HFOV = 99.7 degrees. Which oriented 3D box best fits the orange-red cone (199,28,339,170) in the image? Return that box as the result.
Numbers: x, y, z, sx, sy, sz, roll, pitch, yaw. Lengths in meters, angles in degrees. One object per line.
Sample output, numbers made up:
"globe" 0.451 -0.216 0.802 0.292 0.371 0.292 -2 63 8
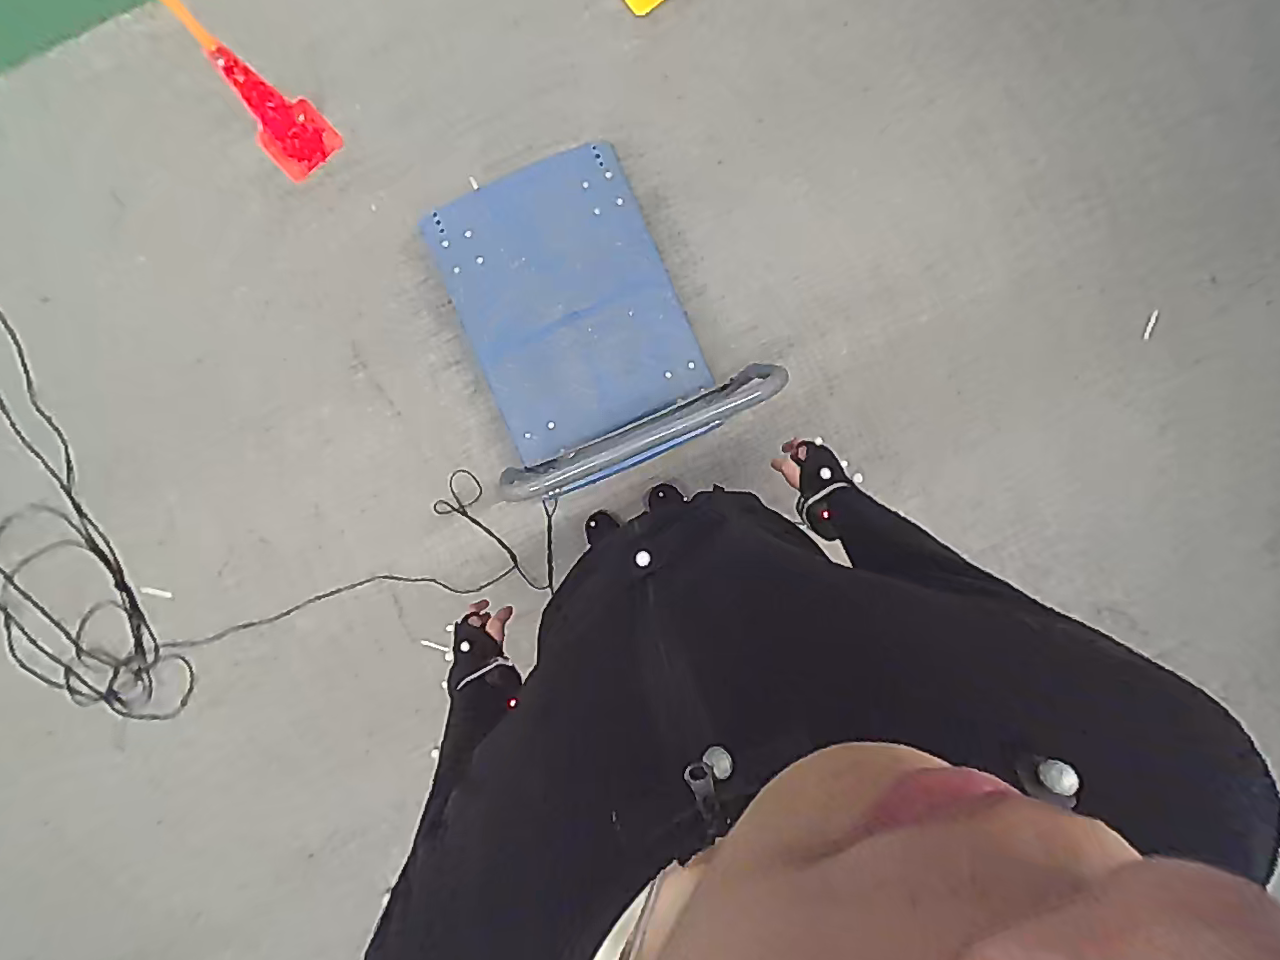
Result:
"orange-red cone" -1.048 -1.071 1.482 0.199 0.360 0.198 -40 89 0
